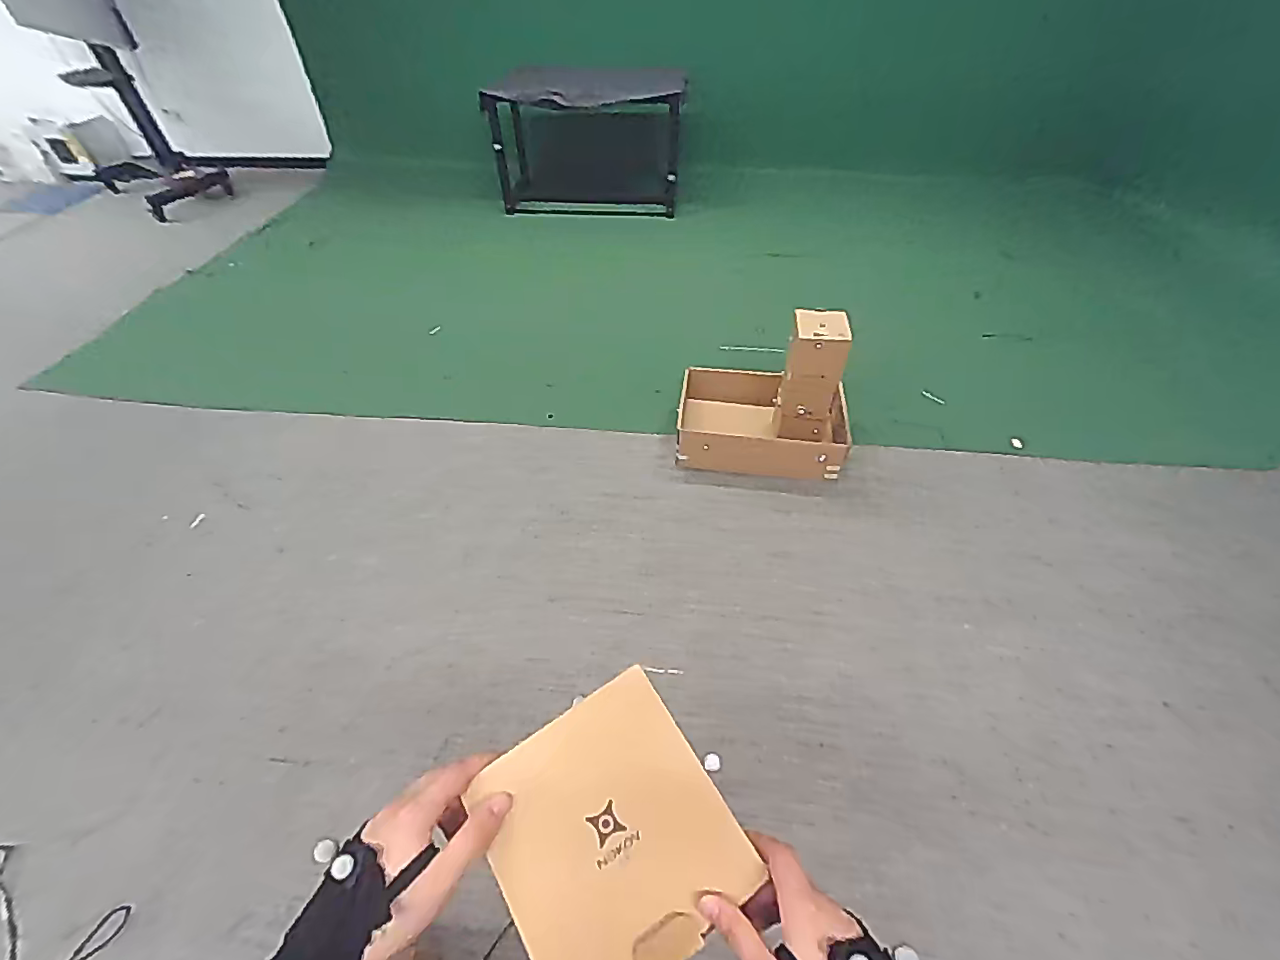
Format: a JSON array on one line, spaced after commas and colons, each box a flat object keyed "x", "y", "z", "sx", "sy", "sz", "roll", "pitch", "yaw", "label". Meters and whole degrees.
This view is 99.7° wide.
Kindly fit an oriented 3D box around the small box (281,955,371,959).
[{"x": -0.496, "y": 0.887, "z": 0.875, "sx": 0.179, "sy": 0.176, "sz": 0.168, "roll": 1, "pitch": 47, "yaw": 1, "label": "small box"}]

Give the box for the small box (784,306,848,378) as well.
[{"x": 0.583, "y": -0.463, "z": 1.814, "sx": 0.168, "sy": 0.176, "sz": 0.179, "roll": 3, "pitch": 47, "yaw": 6, "label": "small box"}]

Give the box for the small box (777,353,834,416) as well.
[{"x": 0.588, "y": -0.353, "z": 1.936, "sx": 0.168, "sy": 0.176, "sz": 0.179, "roll": 6, "pitch": 49, "yaw": 8, "label": "small box"}]

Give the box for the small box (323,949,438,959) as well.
[{"x": -0.496, "y": 0.986, "z": 1.007, "sx": 0.179, "sy": 0.176, "sz": 0.168, "roll": -3, "pitch": 46, "yaw": 0, "label": "small box"}]
